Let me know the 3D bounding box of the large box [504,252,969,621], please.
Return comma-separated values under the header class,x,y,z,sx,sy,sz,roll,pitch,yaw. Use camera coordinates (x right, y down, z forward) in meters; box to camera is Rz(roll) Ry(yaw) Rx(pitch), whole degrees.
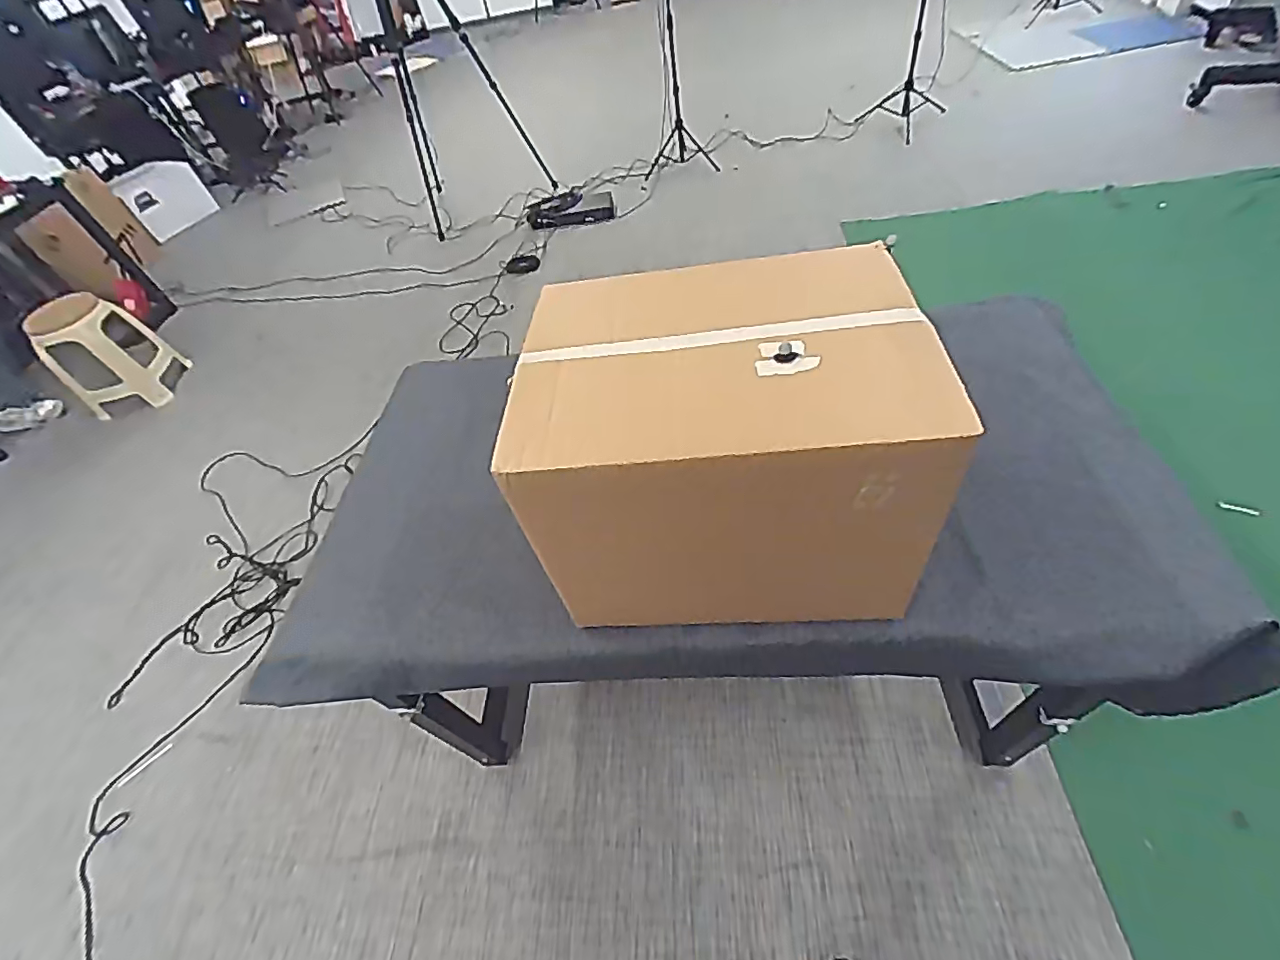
class,x,y,z,sx,sy,sz,roll,pitch,yaw
large box,0.095,-0.041,0.666,0.408,0.320,0.320,-4,49,8
